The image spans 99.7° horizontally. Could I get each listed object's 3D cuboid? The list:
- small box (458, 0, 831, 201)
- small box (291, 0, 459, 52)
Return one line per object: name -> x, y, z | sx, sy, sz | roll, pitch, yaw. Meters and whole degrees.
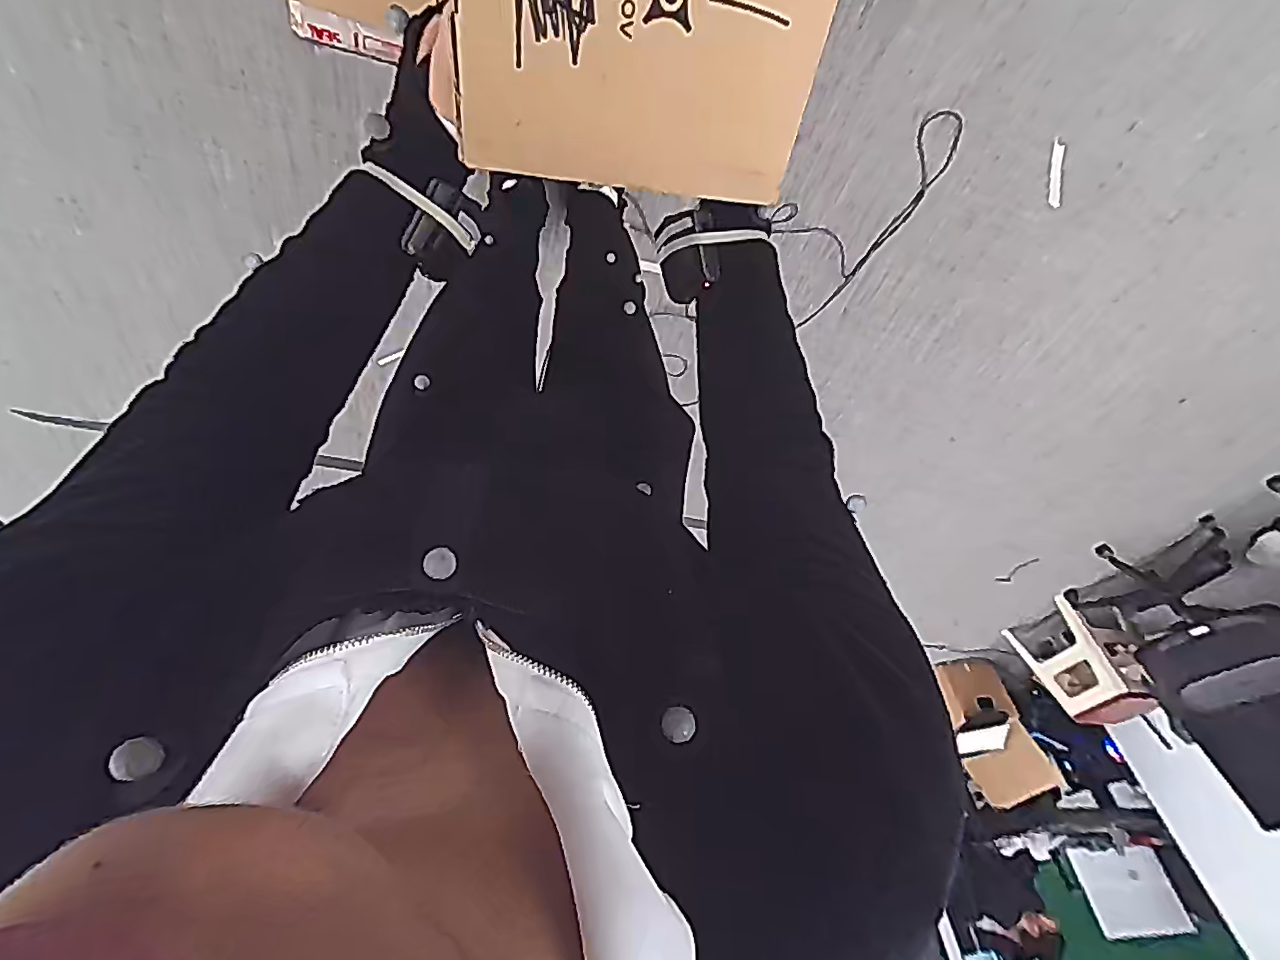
small box -> -0.004, -0.282, 0.306 | 0.179, 0.176, 0.168 | 1, 134, -12
small box -> -0.223, -0.493, 0.430 | 0.168, 0.176, 0.179 | 10, 139, -14
